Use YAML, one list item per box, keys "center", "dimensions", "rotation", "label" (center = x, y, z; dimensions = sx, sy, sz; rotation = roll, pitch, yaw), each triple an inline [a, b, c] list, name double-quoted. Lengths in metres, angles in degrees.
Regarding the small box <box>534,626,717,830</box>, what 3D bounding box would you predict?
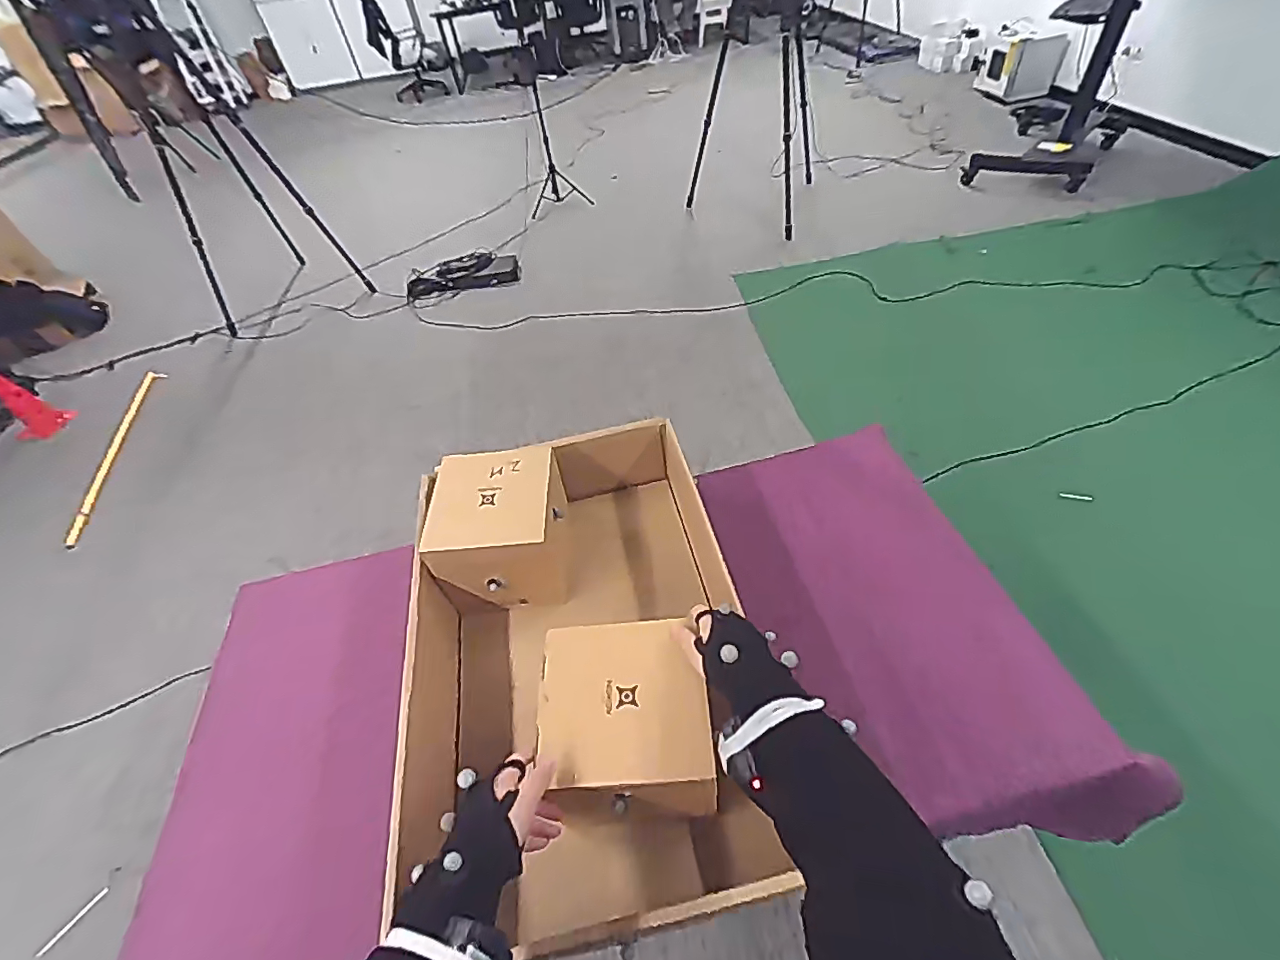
- center: [-0.007, 0.286, 0.618]
  dimensions: [0.179, 0.176, 0.168]
  rotation: [-7, 46, 5]
  label: "small box"
